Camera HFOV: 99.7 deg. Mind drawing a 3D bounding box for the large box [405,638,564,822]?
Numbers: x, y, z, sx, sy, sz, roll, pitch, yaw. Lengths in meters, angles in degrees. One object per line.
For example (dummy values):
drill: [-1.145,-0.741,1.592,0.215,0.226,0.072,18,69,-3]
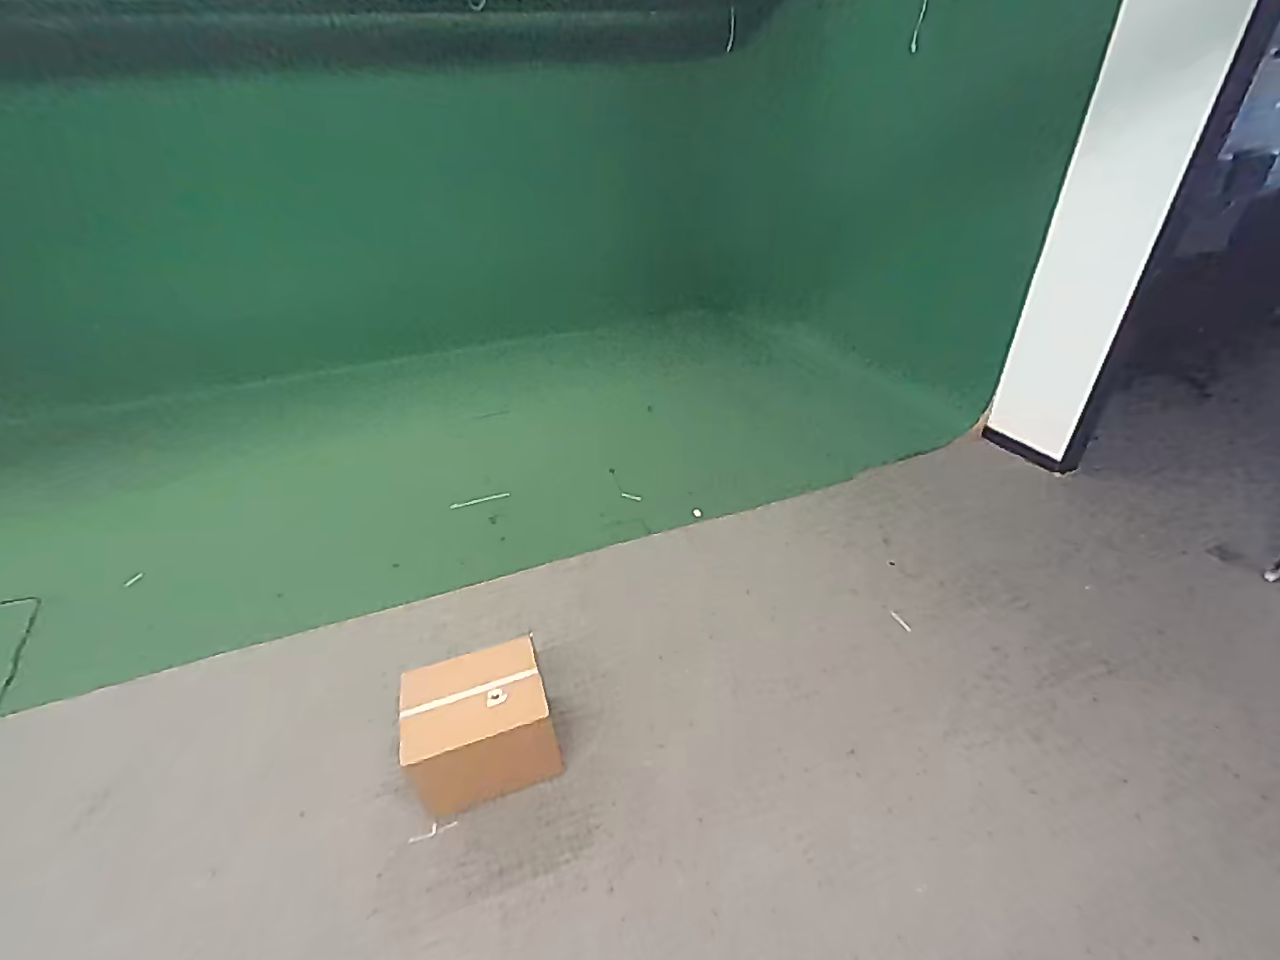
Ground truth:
large box: [-0.477,0.759,1.666,0.408,0.320,0.320,-13,34,-15]
